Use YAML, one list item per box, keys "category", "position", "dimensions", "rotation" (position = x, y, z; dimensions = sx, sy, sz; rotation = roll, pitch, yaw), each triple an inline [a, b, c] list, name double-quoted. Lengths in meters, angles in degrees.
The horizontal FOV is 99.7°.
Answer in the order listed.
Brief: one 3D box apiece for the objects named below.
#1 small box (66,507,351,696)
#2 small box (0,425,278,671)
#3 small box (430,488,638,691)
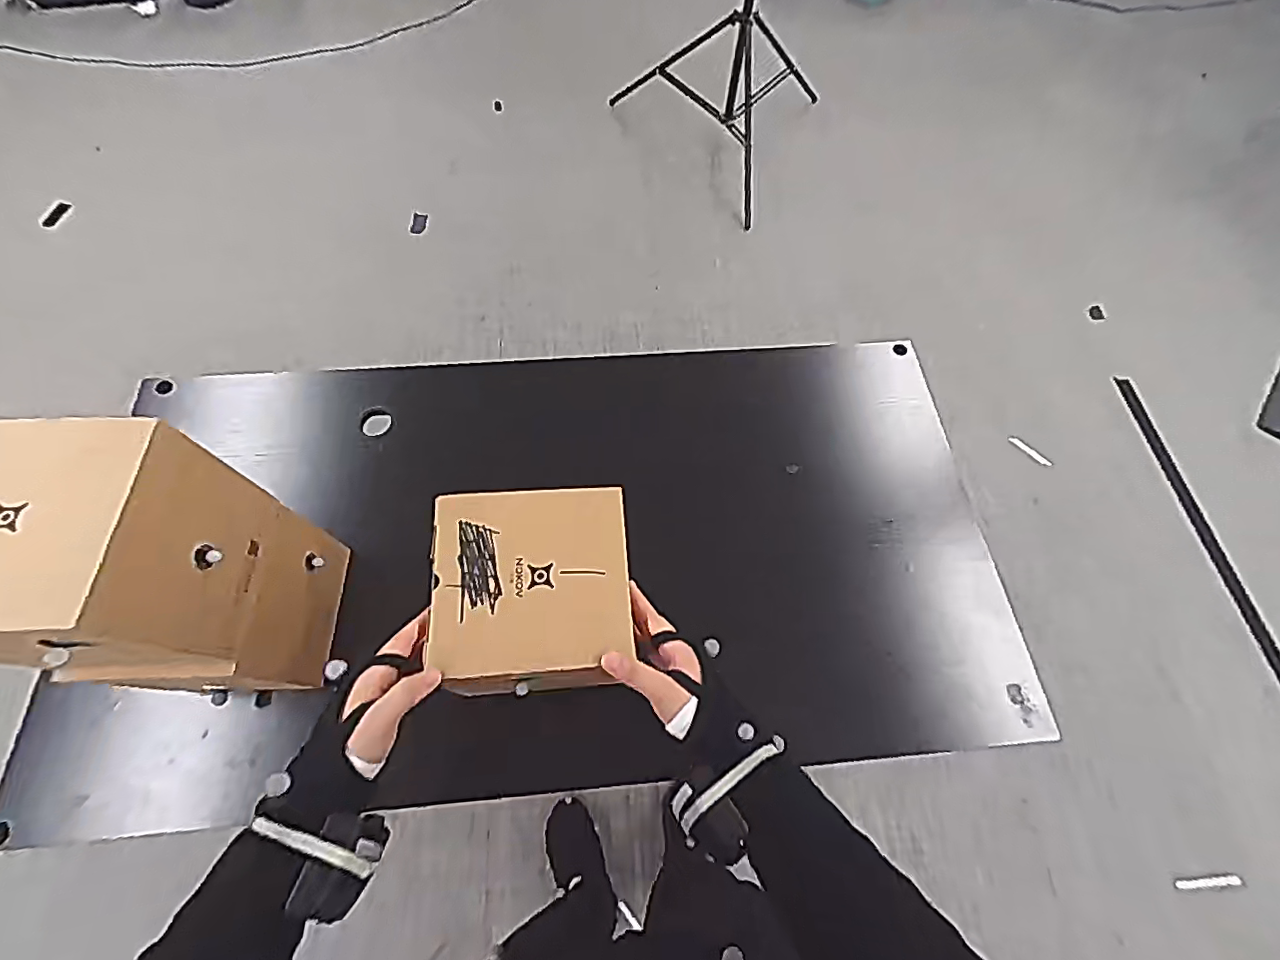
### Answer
- category: "small box"
  position: [-0.453, 0.142, 0.607]
  dimensions: [0.168, 0.176, 0.179]
  rotation: [-2, 66, -2]
- category: "small box"
  position: [-0.454, 0.066, 0.460]
  dimensions: [0.179, 0.176, 0.168]
  rotation: [-2, 64, -2]
- category: "small box"
  position: [-0.098, 0.119, 0.555]
  dimensions: [0.179, 0.176, 0.168]
  rotation: [-2, 65, -6]
